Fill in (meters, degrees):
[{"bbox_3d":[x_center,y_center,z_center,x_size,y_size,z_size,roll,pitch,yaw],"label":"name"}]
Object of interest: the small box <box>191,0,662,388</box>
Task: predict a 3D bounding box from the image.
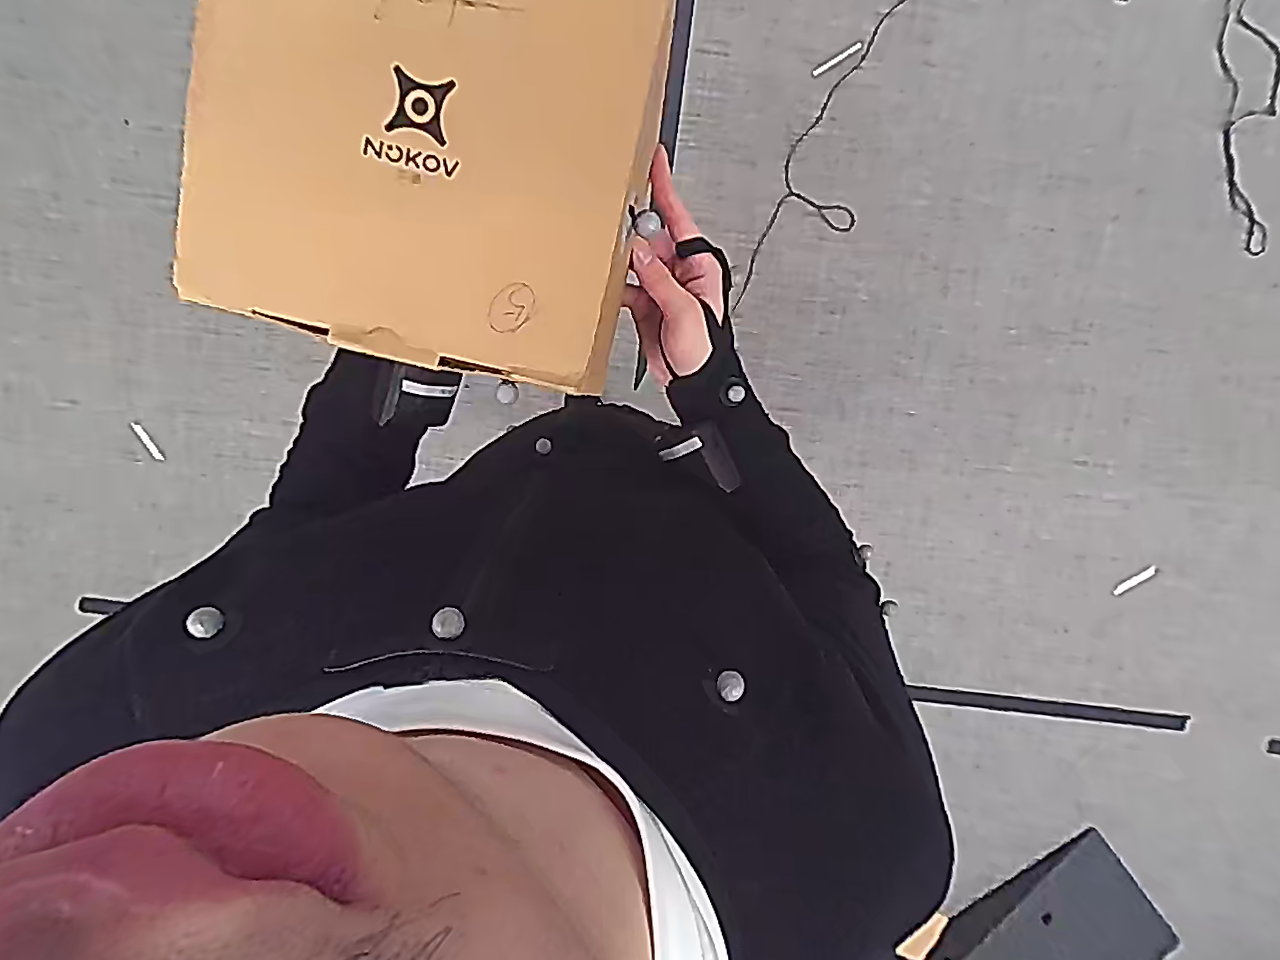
[{"bbox_3d":[-0.089,-0.152,0.295,0.168,0.176,0.179,13,97,-4],"label":"small box"}]
